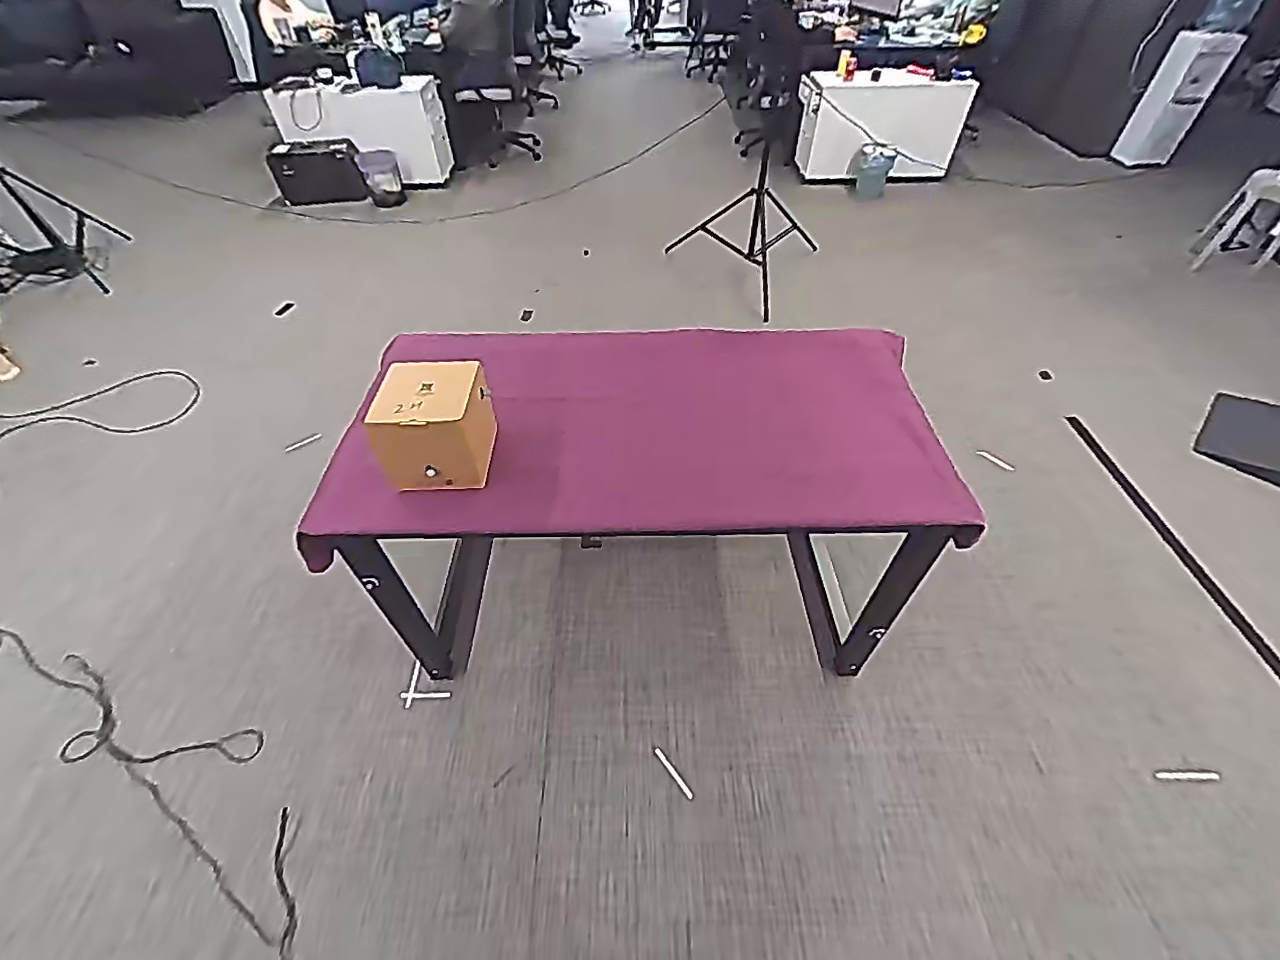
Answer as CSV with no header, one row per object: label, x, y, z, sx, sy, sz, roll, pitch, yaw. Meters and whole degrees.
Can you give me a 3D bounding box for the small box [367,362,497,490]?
small box,-0.373,-0.100,1.009,0.168,0.176,0.179,-2,47,0
